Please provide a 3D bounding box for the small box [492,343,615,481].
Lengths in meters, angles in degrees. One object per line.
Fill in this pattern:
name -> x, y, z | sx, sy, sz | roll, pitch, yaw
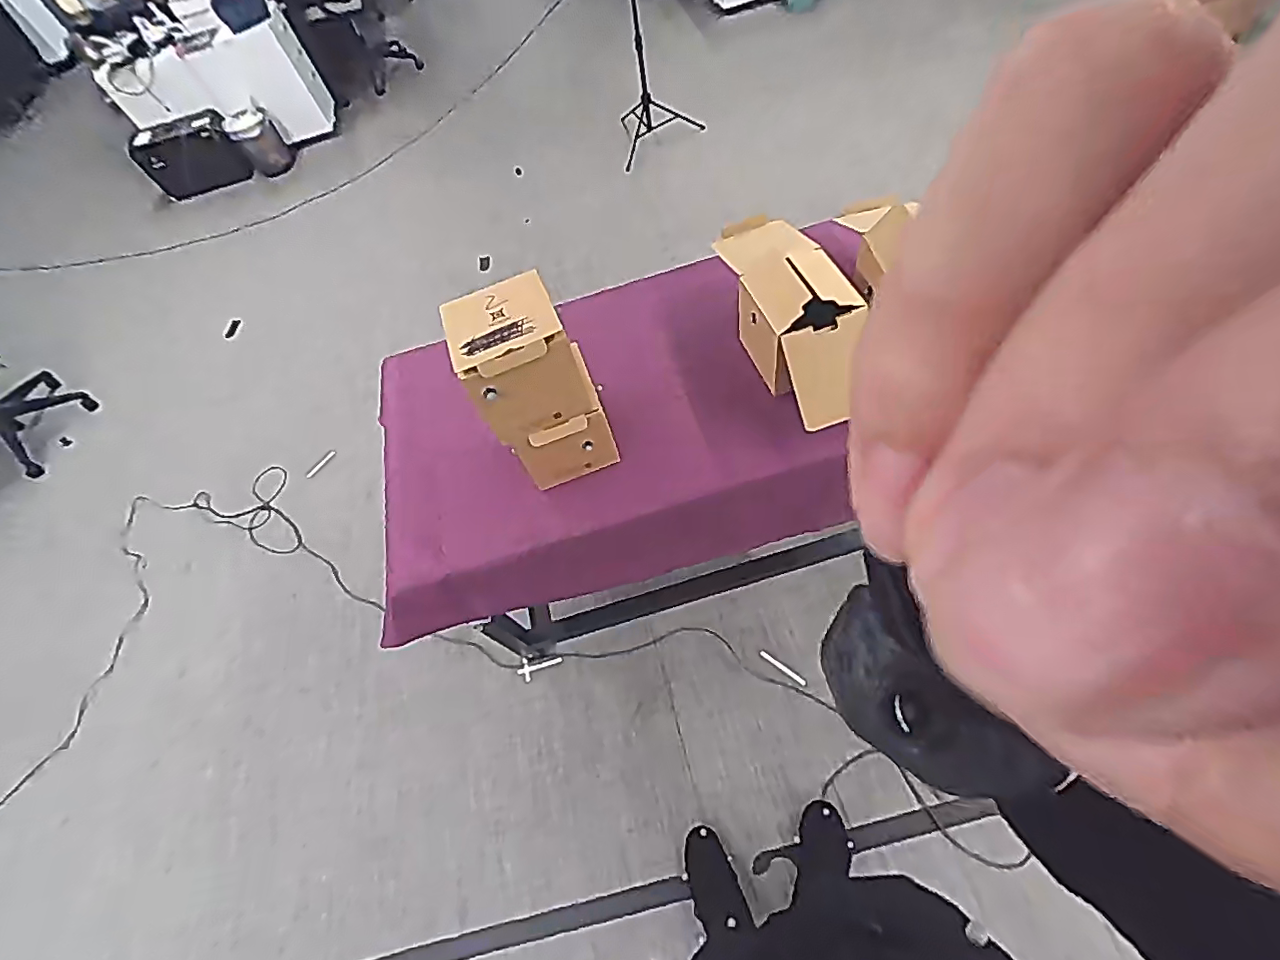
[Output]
small box -> -0.156, -0.117, 1.015 | 0.168, 0.176, 0.179 | -20, 59, -2

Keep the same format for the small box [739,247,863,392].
small box -> 0.295, -0.302, 1.035 | 0.168, 0.176, 0.179 | -20, 59, 0
